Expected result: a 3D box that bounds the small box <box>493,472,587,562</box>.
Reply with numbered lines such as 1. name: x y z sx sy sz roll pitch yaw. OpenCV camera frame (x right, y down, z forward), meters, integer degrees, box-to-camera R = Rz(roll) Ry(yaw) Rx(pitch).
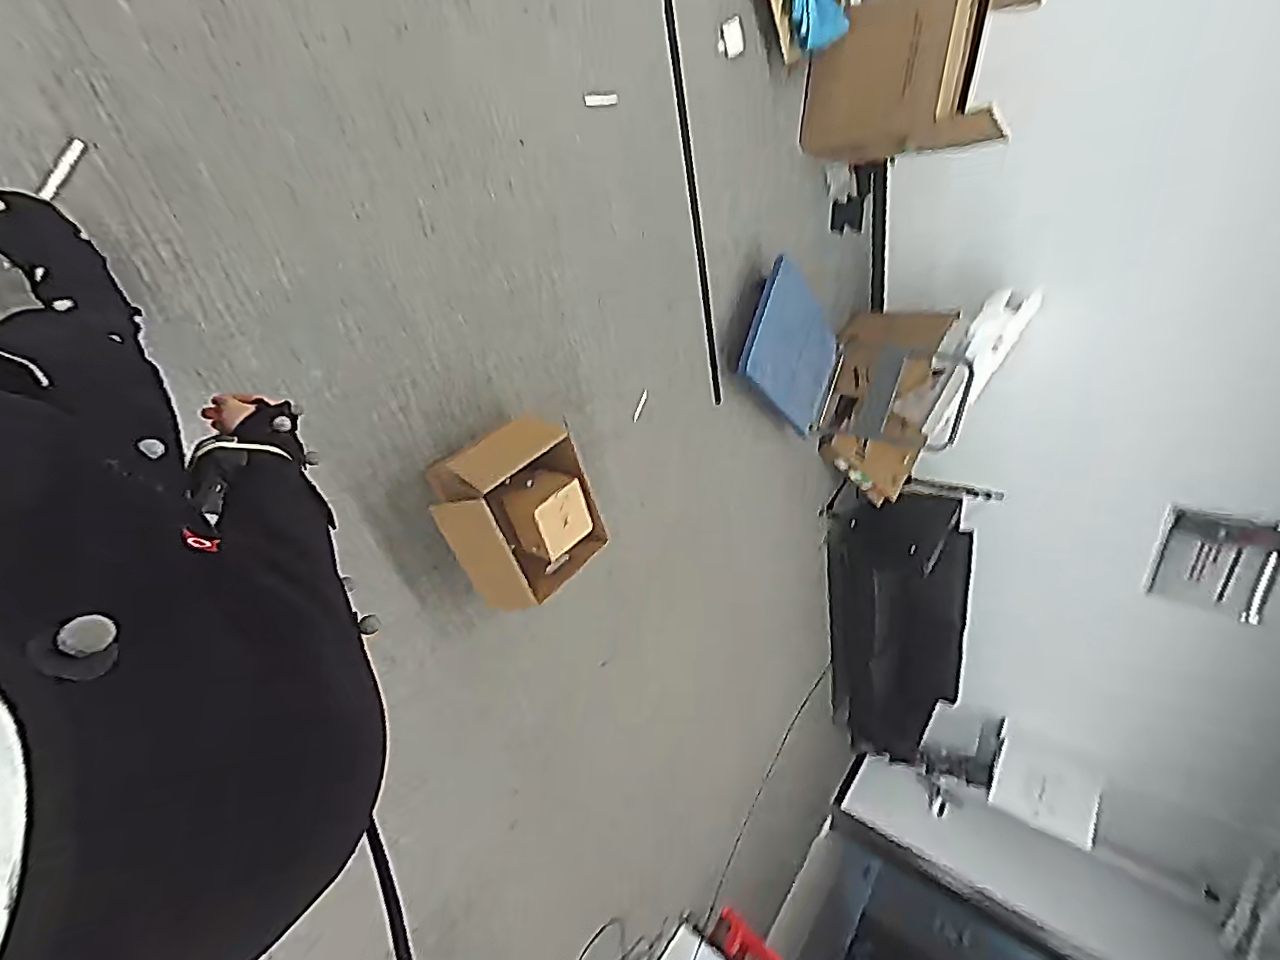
1. small box: -0.282 0.097 1.524 0.168 0.176 0.179 -39 128 -37
